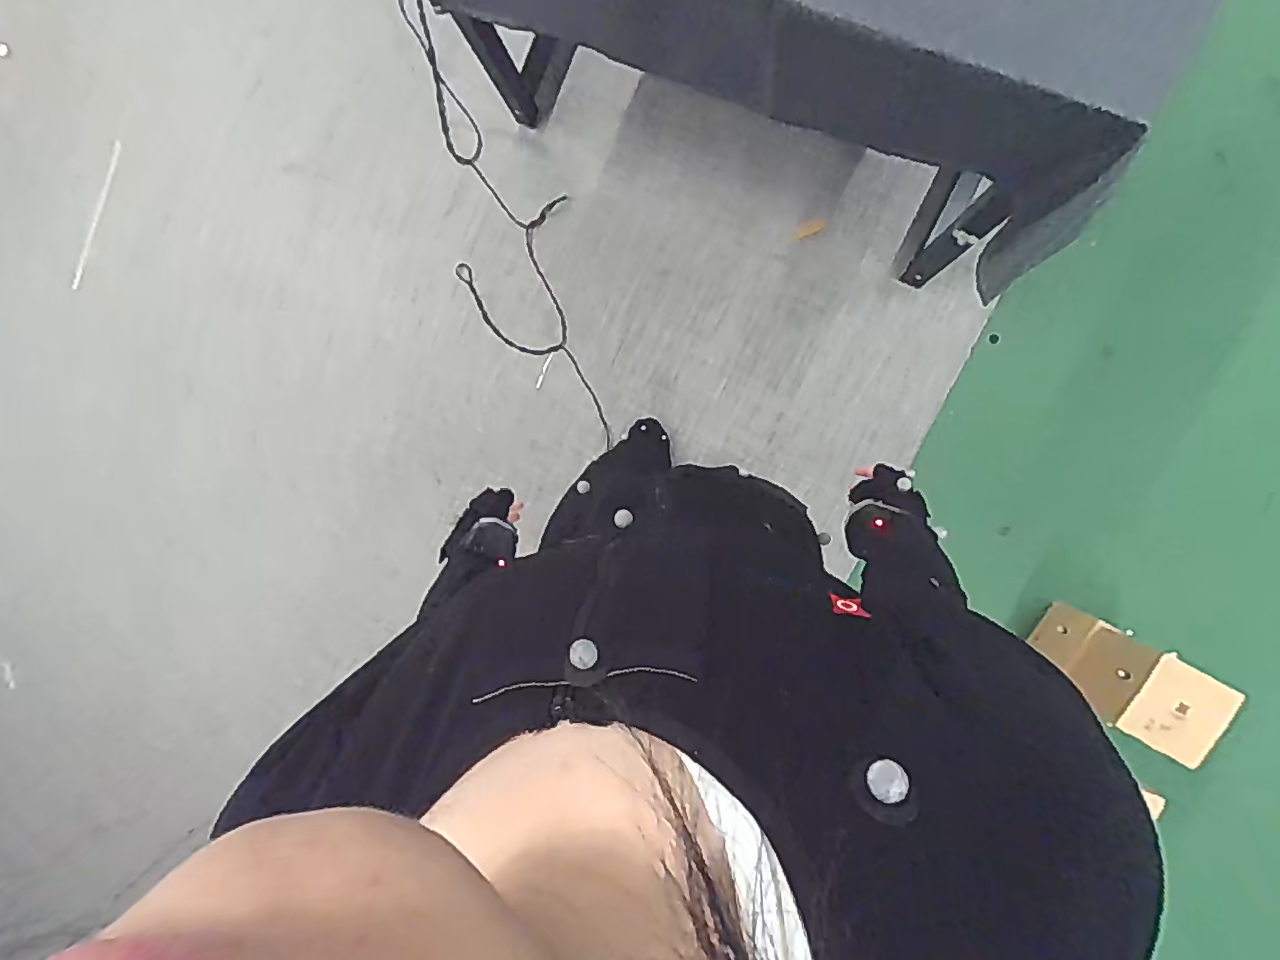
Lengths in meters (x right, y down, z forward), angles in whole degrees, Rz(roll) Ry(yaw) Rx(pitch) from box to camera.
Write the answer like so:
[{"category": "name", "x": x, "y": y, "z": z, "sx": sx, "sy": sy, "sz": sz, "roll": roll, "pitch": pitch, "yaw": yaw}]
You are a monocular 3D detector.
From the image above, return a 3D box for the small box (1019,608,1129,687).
[{"category": "small box", "x": 1.059, "y": 0.425, "z": 1.285, "sx": 0.179, "sy": 0.176, "sz": 0.168, "roll": 31, "pitch": 96, "yaw": 5}]

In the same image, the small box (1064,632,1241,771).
[{"category": "small box", "x": 1.043, "y": 0.445, "z": 1.121, "sx": 0.168, "sy": 0.176, "sz": 0.179, "roll": 30, "pitch": 96, "yaw": 5}]
